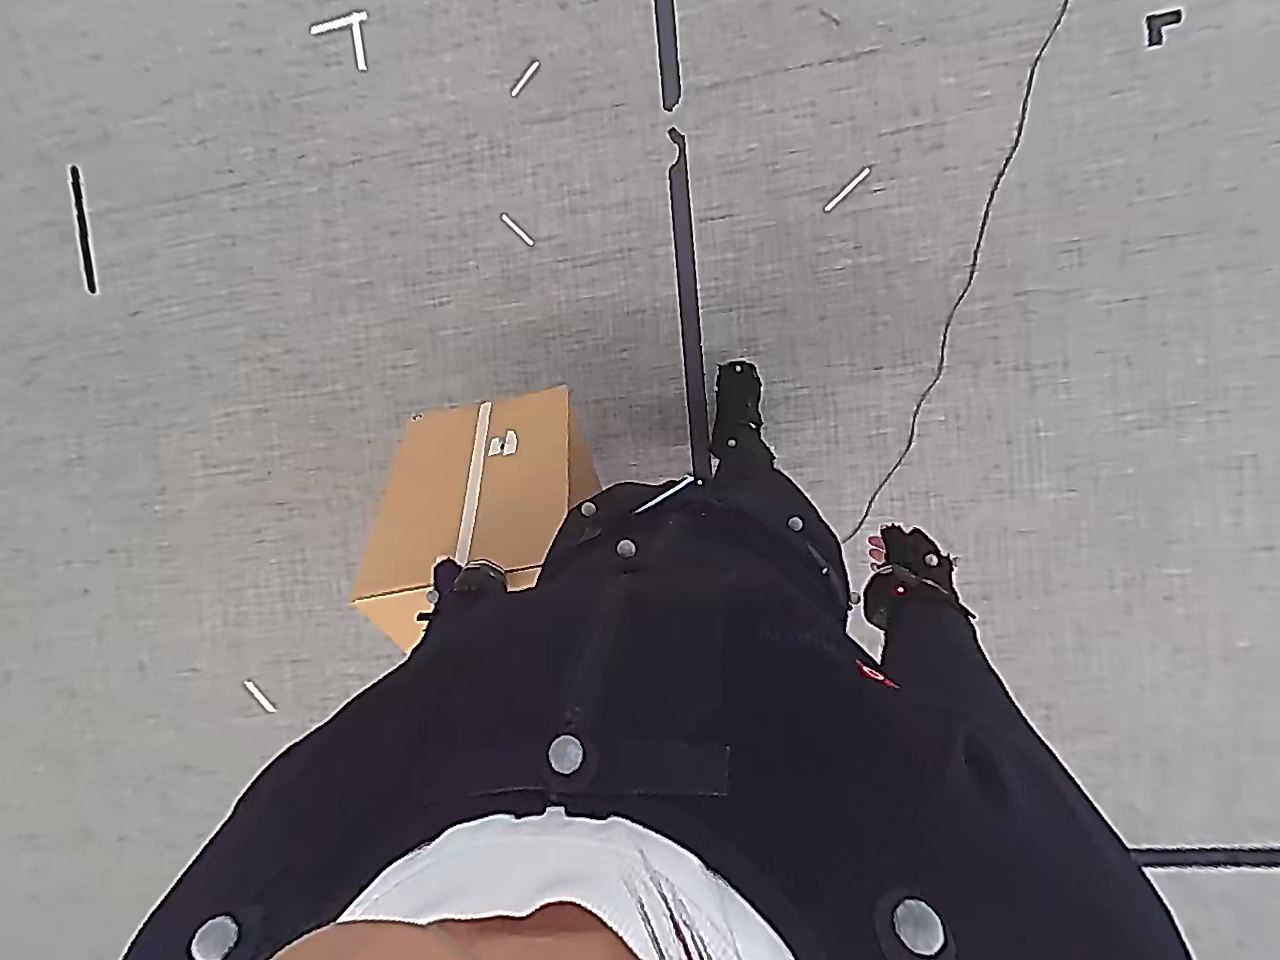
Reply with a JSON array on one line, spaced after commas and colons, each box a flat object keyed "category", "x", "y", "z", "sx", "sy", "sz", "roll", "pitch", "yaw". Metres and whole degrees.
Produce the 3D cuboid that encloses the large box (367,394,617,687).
[{"category": "large box", "x": -0.234, "y": 0.106, "z": 0.998, "sx": 0.320, "sy": 0.408, "sz": 0.320, "roll": -10, "pitch": 134, "yaw": 3}]
